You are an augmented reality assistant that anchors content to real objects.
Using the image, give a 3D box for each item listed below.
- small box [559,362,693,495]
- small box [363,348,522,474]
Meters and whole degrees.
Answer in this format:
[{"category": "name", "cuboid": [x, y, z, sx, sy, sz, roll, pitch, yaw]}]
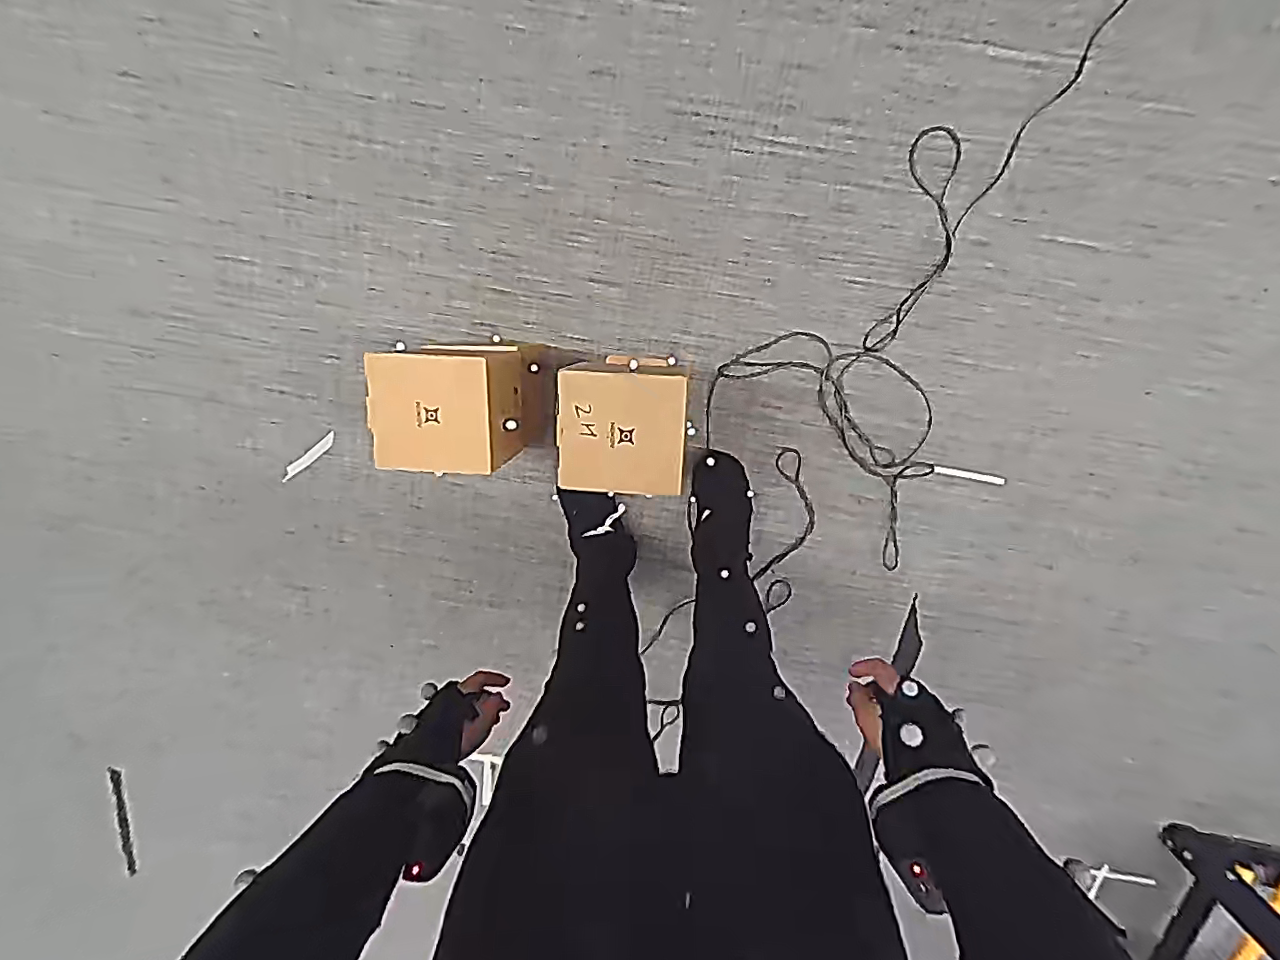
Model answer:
[{"category": "small box", "cuboid": [-0.016, -0.084, 0.800, 0.179, 0.176, 0.168, 4, 105, 5]}, {"category": "small box", "cuboid": [-0.283, -0.112, 0.819, 0.179, 0.176, 0.168, 2, 106, 5]}]
